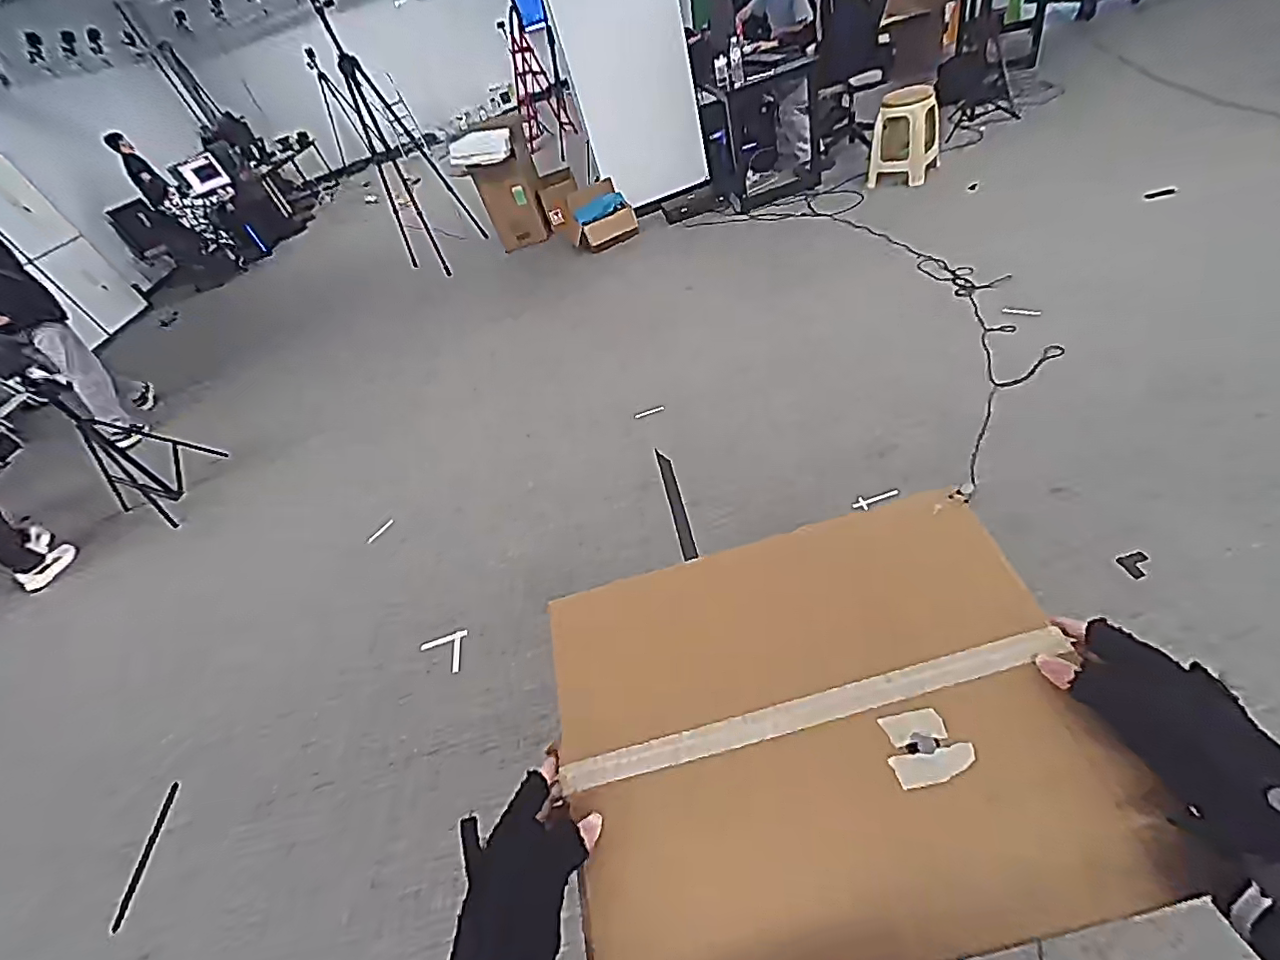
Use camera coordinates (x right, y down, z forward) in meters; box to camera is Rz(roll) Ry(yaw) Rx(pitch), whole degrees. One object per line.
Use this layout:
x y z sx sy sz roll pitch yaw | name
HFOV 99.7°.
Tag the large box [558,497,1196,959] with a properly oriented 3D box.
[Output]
0.167 0.276 0.558 0.408 0.320 0.320 -17 53 2 | large box
